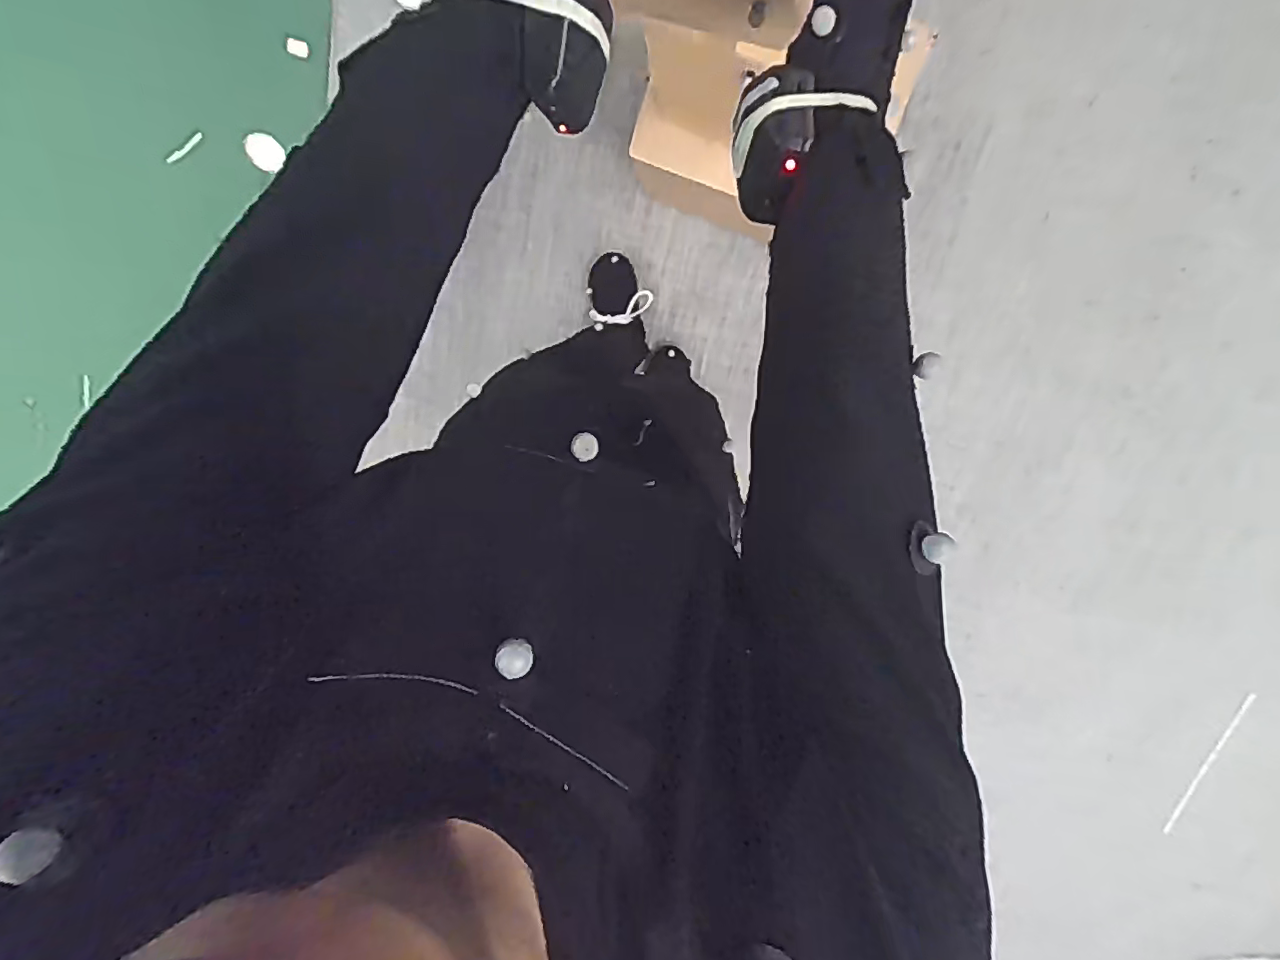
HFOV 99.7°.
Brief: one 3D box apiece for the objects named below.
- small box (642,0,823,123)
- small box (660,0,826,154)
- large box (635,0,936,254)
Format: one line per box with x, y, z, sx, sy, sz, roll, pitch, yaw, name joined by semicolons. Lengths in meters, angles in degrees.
0.117;-0.555;0.628;0.179;0.176;0.168;22;106;-1;small box
0.140;-0.603;0.782;0.179;0.176;0.168;20;106;1;small box
0.232;-0.657;1.011;0.408;0.320;0.320;19;108;-1;large box
